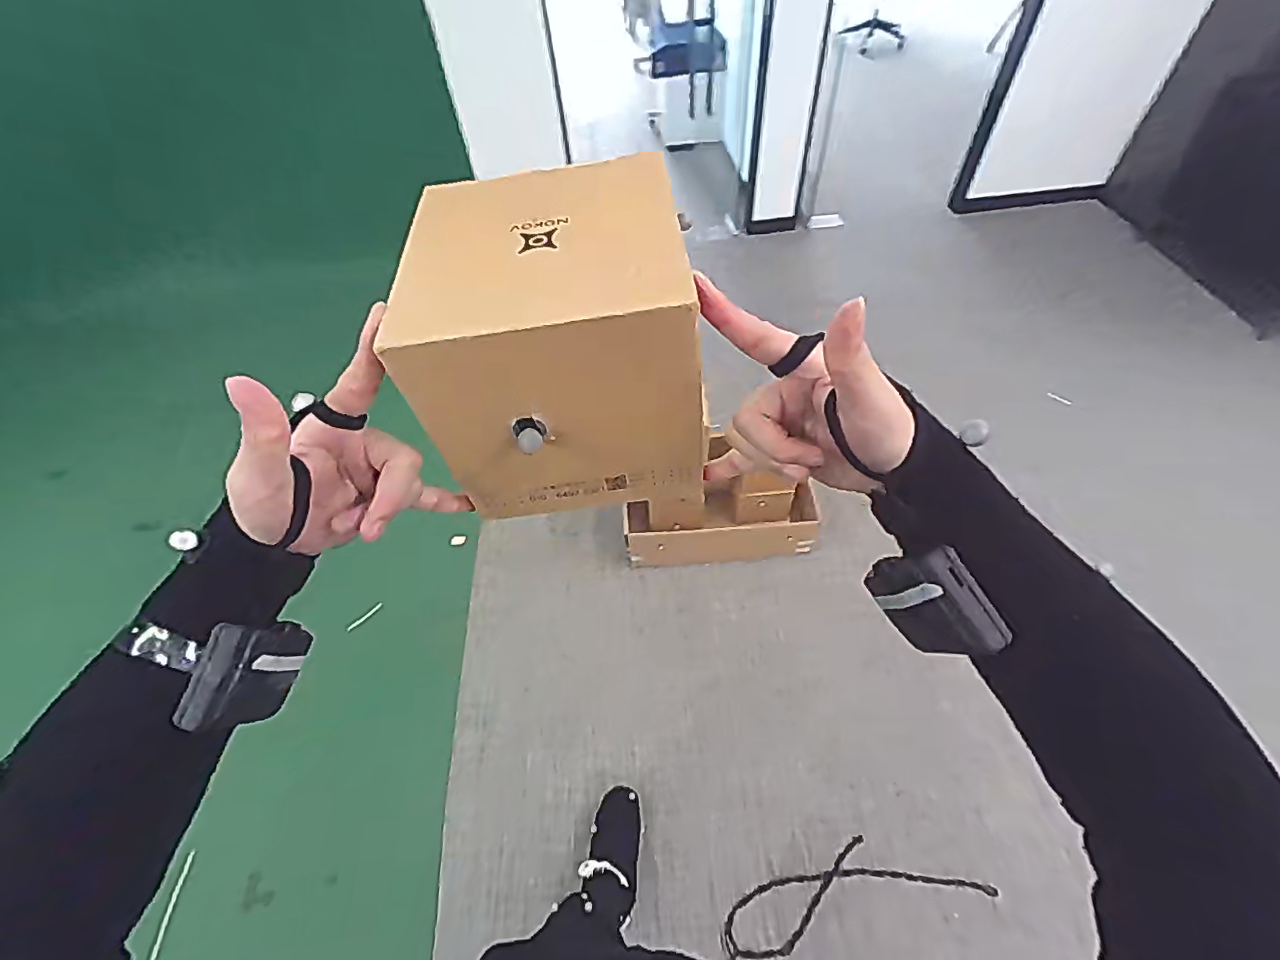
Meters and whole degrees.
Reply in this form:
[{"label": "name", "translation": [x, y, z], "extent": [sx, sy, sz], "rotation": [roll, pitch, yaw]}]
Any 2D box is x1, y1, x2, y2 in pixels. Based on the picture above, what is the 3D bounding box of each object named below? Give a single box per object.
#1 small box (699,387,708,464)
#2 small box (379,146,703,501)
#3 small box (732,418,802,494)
[{"label": "small box", "translation": [0.098, -0.147, 1.550], "extent": [0.179, 0.176, 0.168], "rotation": [-3, 51, 0]}, {"label": "small box", "translation": [-0.049, -0.098, 0.381], "extent": [0.168, 0.176, 0.179], "rotation": [-8, 52, 2]}, {"label": "small box", "translation": [0.386, -0.071, 1.681], "extent": [0.179, 0.176, 0.168], "rotation": [-6, 53, 0]}]
